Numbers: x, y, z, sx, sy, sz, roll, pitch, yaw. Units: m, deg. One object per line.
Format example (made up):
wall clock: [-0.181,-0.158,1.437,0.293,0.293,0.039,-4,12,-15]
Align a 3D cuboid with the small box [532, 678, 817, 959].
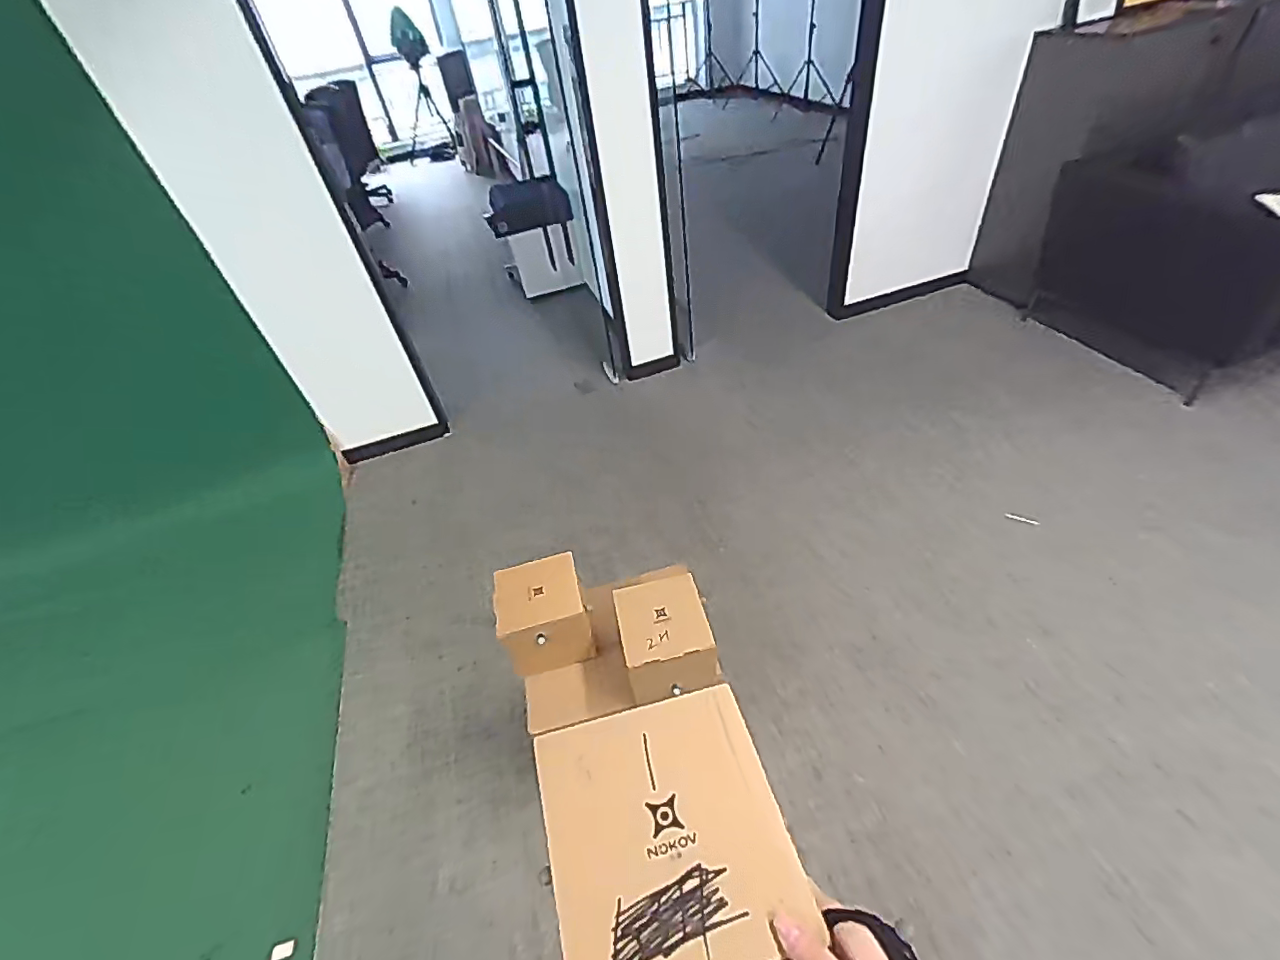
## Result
small box: [0.015,0.297,0.442,0.168,0.176,0.179,-11,47,-11]

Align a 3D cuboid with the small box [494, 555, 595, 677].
small box: [-0.200,0.292,1.160,0.179,0.176,0.168,-15,42,-5]

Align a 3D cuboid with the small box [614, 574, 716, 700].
small box: [0.049,0.321,1.081,0.168,0.176,0.179,-13,42,-3]
